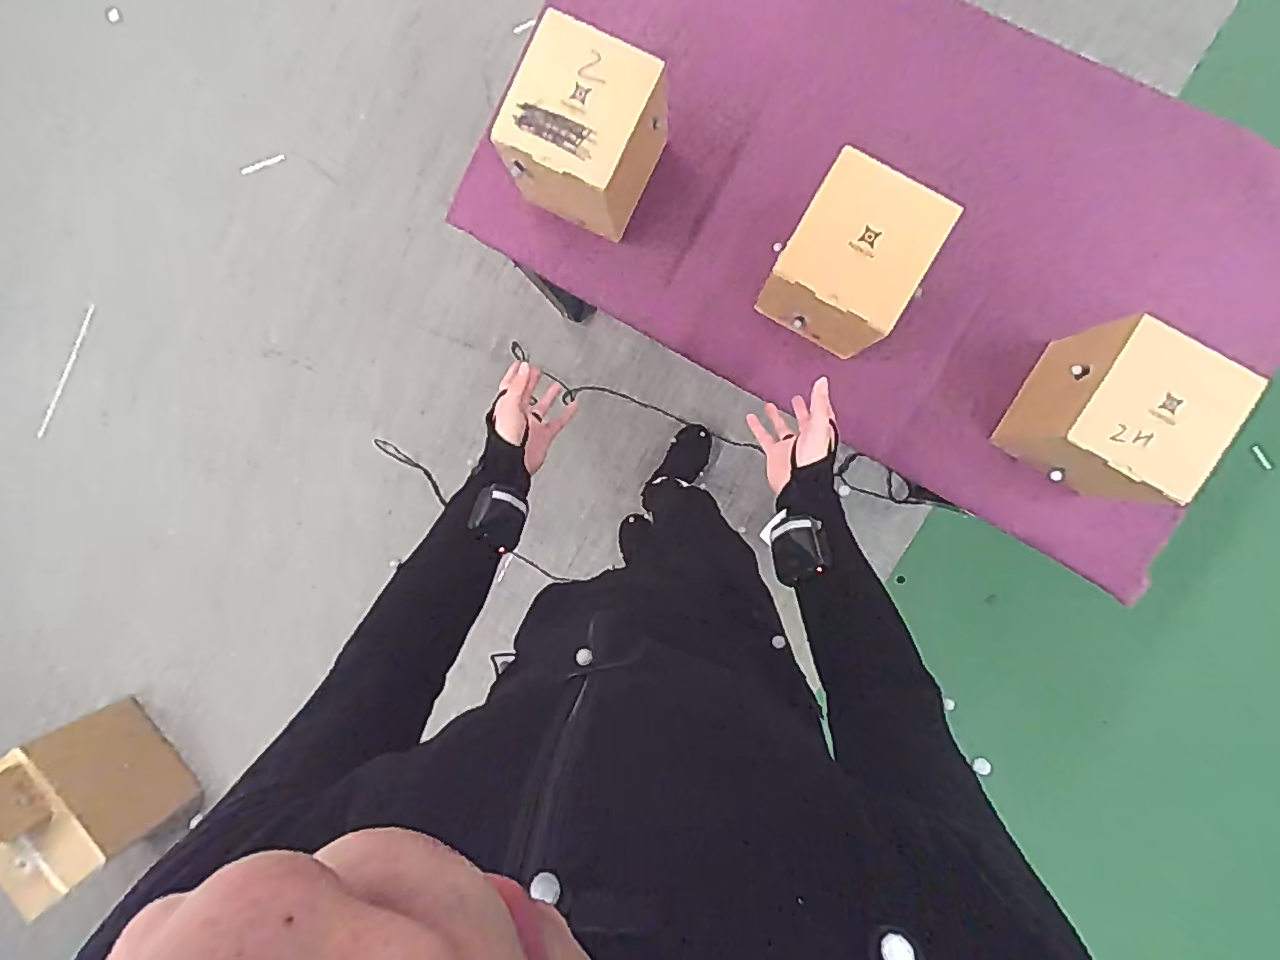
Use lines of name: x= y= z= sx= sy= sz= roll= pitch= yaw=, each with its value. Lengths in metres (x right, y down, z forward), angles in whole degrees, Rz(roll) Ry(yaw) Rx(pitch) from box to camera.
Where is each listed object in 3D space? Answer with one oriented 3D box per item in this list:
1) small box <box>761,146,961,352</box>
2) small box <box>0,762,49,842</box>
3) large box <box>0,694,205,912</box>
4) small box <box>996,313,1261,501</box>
small box: x=0.284 y=-0.300 z=0.744 sx=0.168 sy=0.176 sz=0.179 roll=29 pitch=95 yaw=1
small box: x=-1.707 y=0.872 z=1.384 sx=0.179 sy=0.176 sz=0.168 roll=-31 pitch=93 yaw=4
large box: x=-1.670 y=0.947 z=1.634 sx=0.320 sy=0.320 sz=0.408 roll=-38 pitch=92 yaw=6
small box: x=0.635 y=-0.092 z=0.733 sx=0.168 sy=0.176 sz=0.179 roll=31 pitch=95 yaw=2
